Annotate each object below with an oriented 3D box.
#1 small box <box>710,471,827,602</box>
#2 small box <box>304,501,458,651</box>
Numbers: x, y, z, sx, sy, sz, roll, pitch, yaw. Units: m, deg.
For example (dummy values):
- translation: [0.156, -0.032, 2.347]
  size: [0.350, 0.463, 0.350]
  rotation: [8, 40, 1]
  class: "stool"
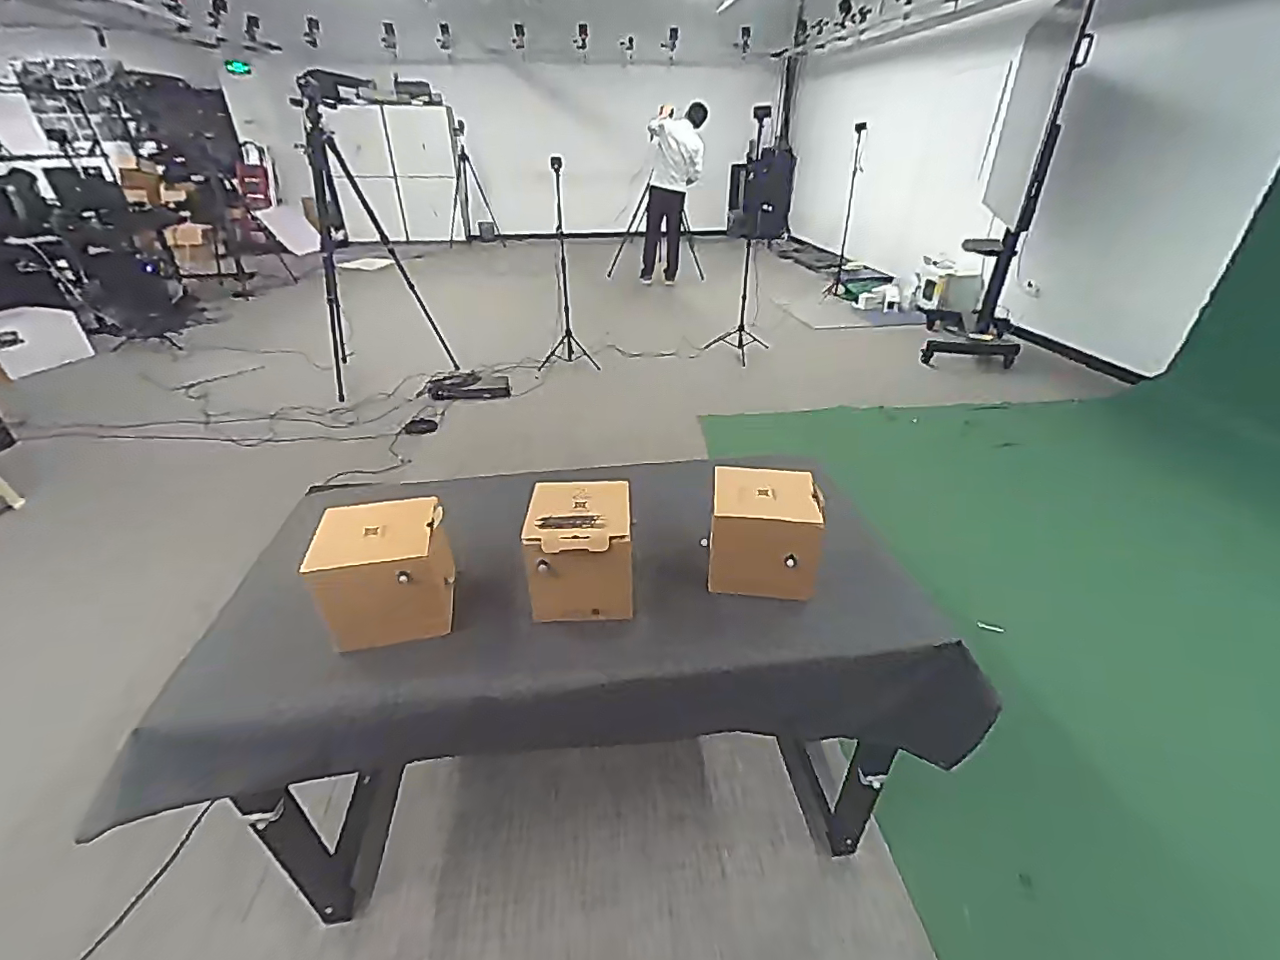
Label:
- translation: [0.220, 0.100, 0.968]
  size: [0.179, 0.176, 0.168]
  rotation: [3, 30, 7]
  class: "small box"
- translation: [-0.405, 0.155, 0.880]
  size: [0.179, 0.176, 0.168]
  rotation: [-7, 32, -12]
  class: "small box"
